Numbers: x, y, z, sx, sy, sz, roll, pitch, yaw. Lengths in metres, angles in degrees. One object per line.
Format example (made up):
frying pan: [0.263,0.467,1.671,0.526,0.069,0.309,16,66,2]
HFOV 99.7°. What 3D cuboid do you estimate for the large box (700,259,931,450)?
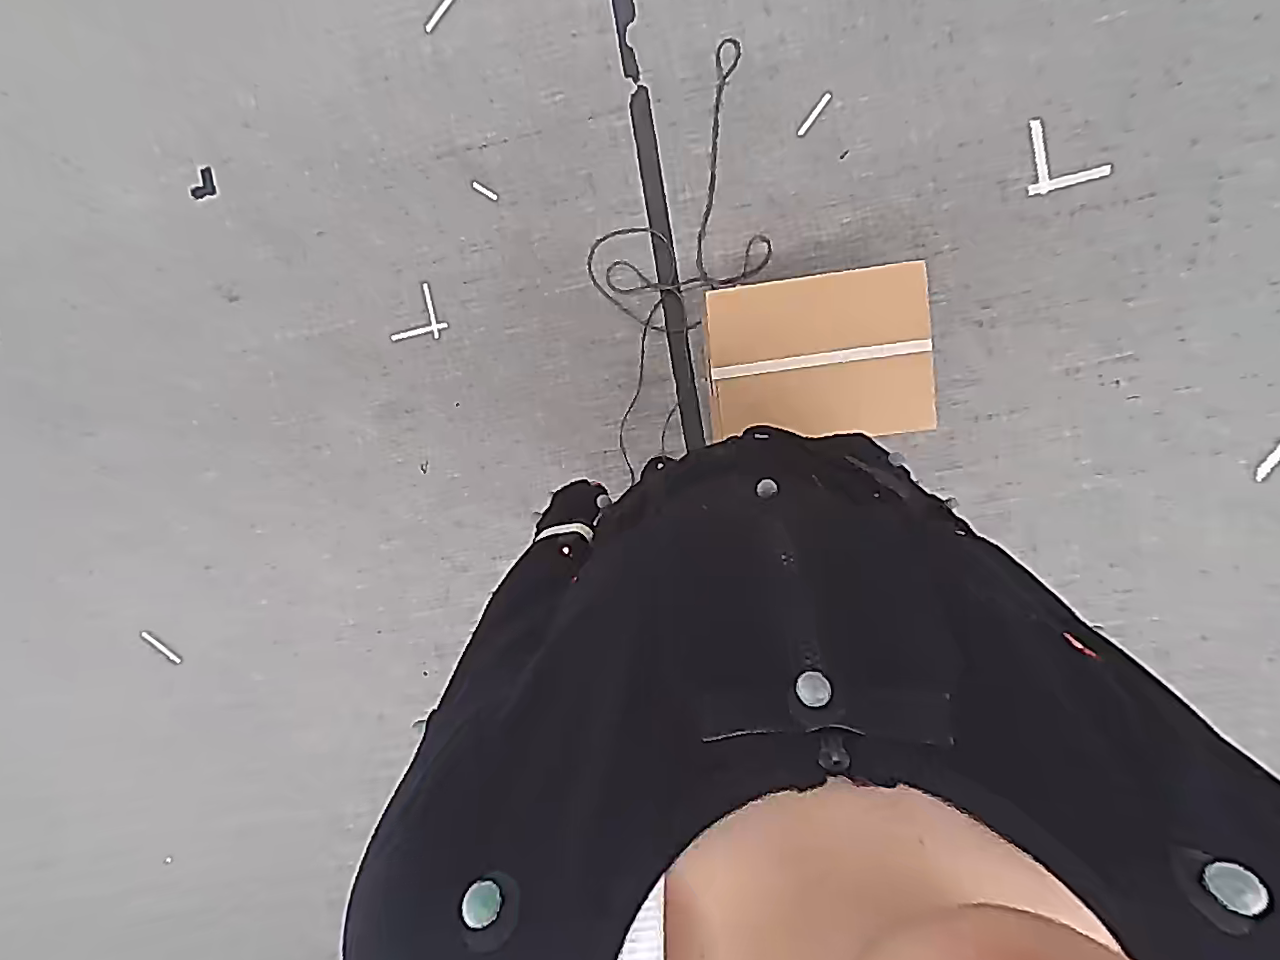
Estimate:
large box: [0.350,-0.251,1.178,0.408,0.320,0.320,-6,97,6]
